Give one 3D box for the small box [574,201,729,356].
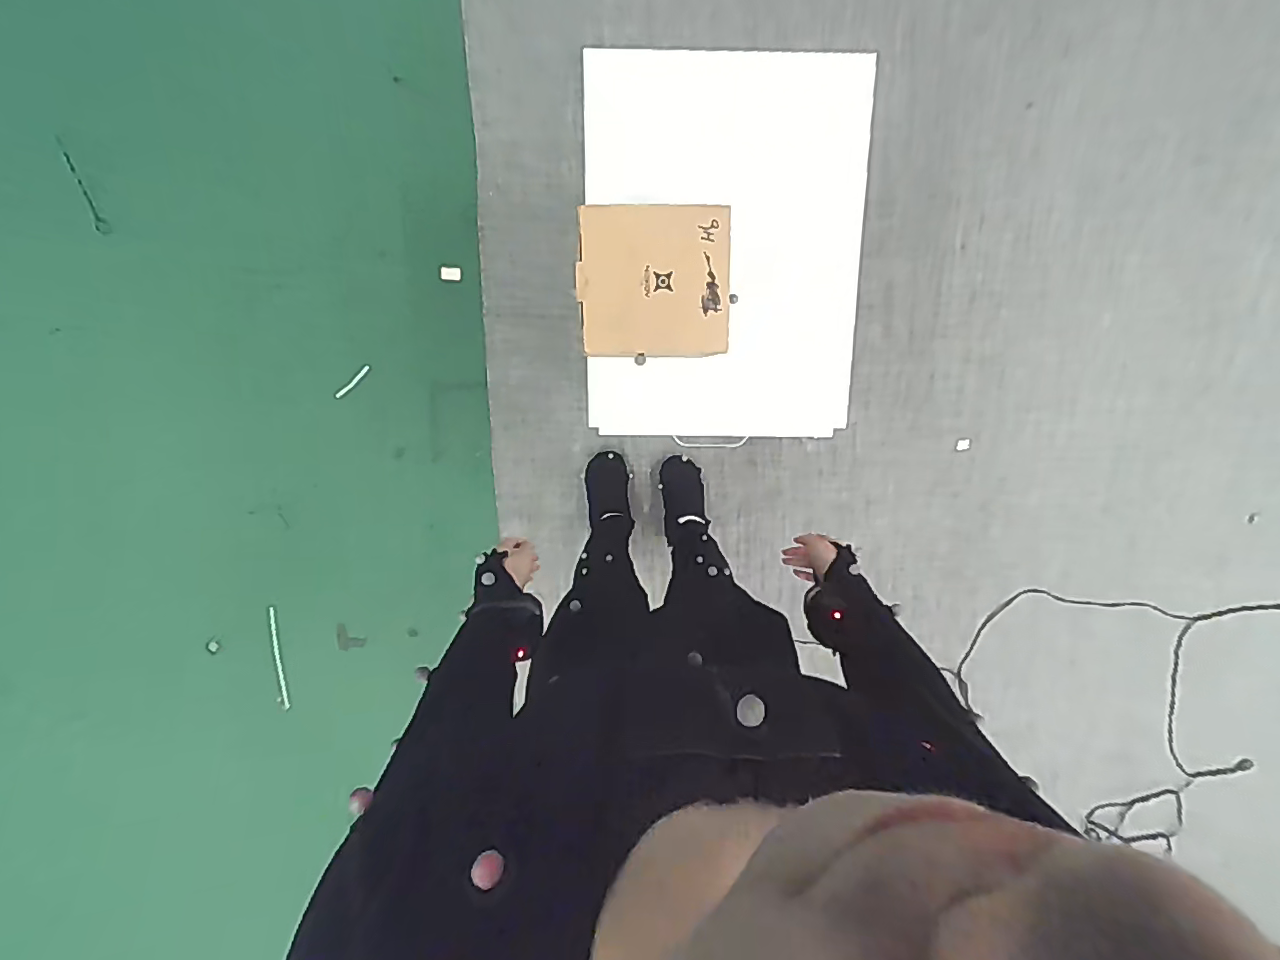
[{"bbox_3d":[0.012,-0.248,0.698,0.179,0.176,0.168,-1,102,-2],"label":"small box"}]
